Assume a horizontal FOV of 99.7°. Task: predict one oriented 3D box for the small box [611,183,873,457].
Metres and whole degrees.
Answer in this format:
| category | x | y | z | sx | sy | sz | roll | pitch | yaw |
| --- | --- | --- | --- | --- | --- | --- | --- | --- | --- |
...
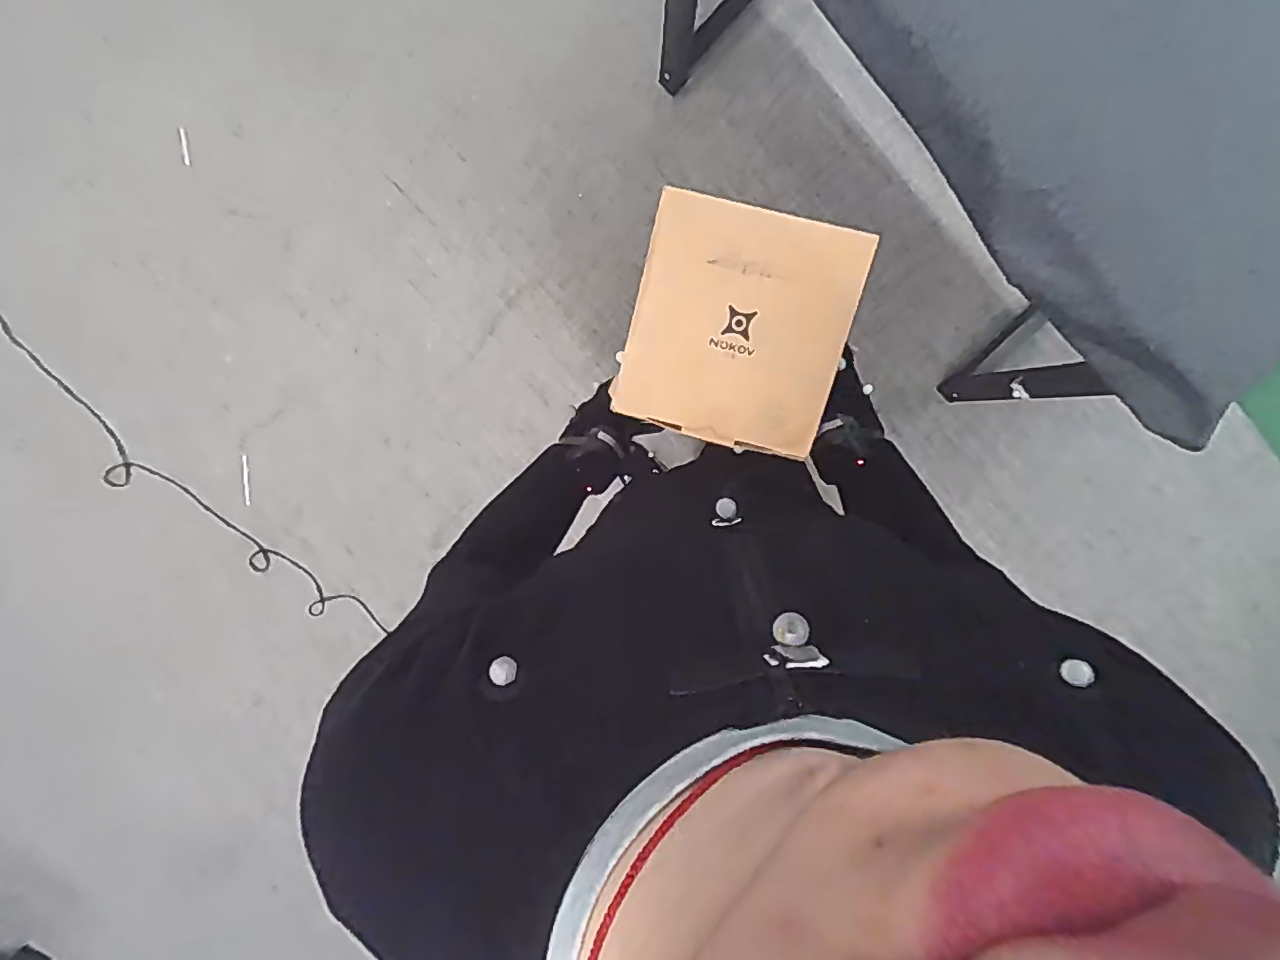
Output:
| category | x | y | z | sx | sy | sz | roll | pitch | yaw |
| --- | --- | --- | --- | --- | --- | --- | --- | --- | --- |
| small box | 0.081 | -0.136 | 0.495 | 0.168 | 0.176 | 0.179 | 14 | 102 | 2 |
